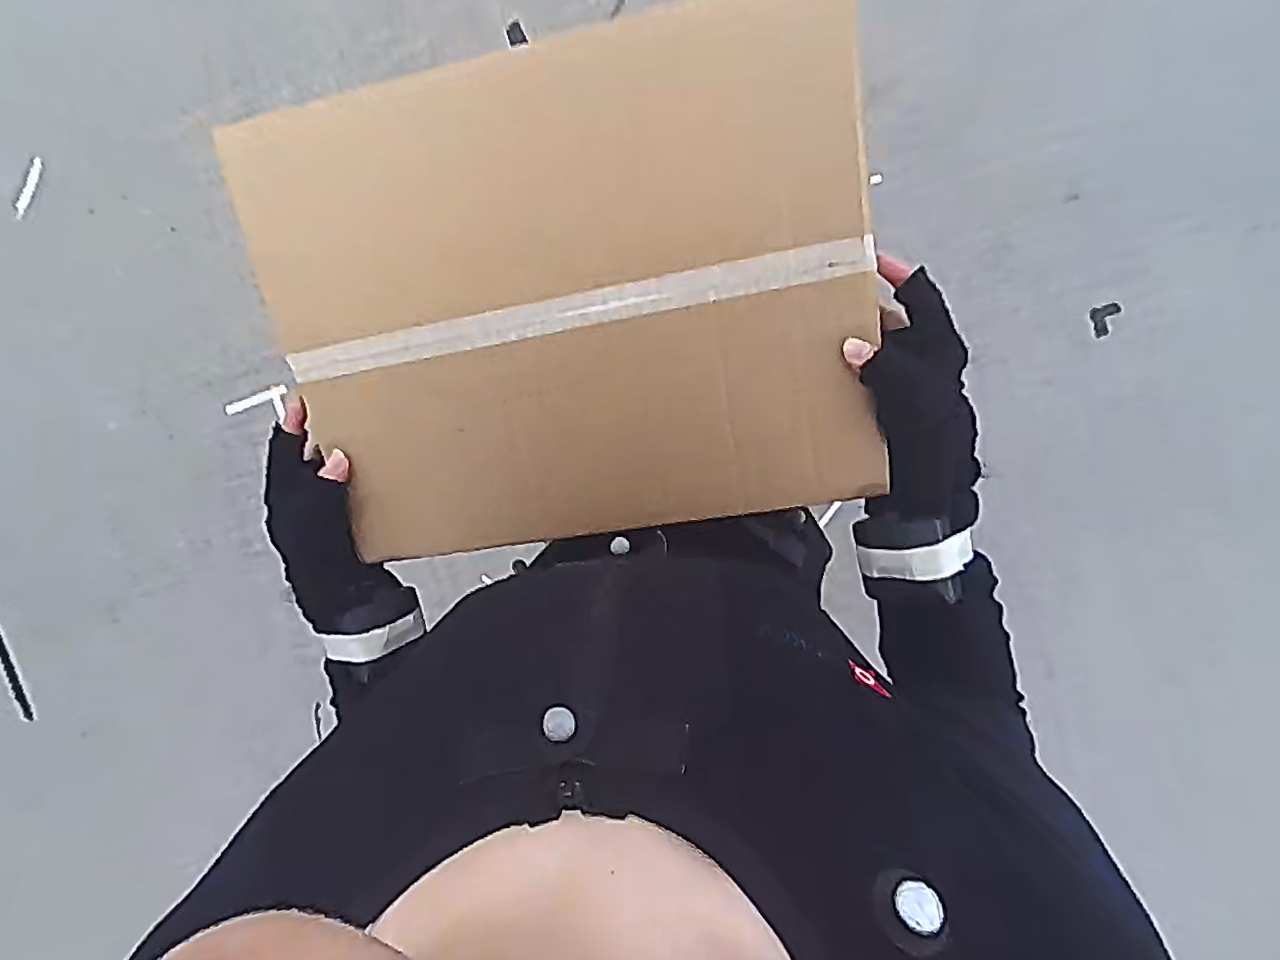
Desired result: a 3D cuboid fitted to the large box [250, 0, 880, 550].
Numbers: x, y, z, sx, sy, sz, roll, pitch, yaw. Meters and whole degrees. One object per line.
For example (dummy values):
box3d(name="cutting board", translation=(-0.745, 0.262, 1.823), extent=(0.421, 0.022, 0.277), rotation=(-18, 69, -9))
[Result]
box3d(name="large box", translation=(-0.036, -0.156, 0.519), extent=(0.408, 0.320, 0.320), rotation=(-8, 105, 8))
